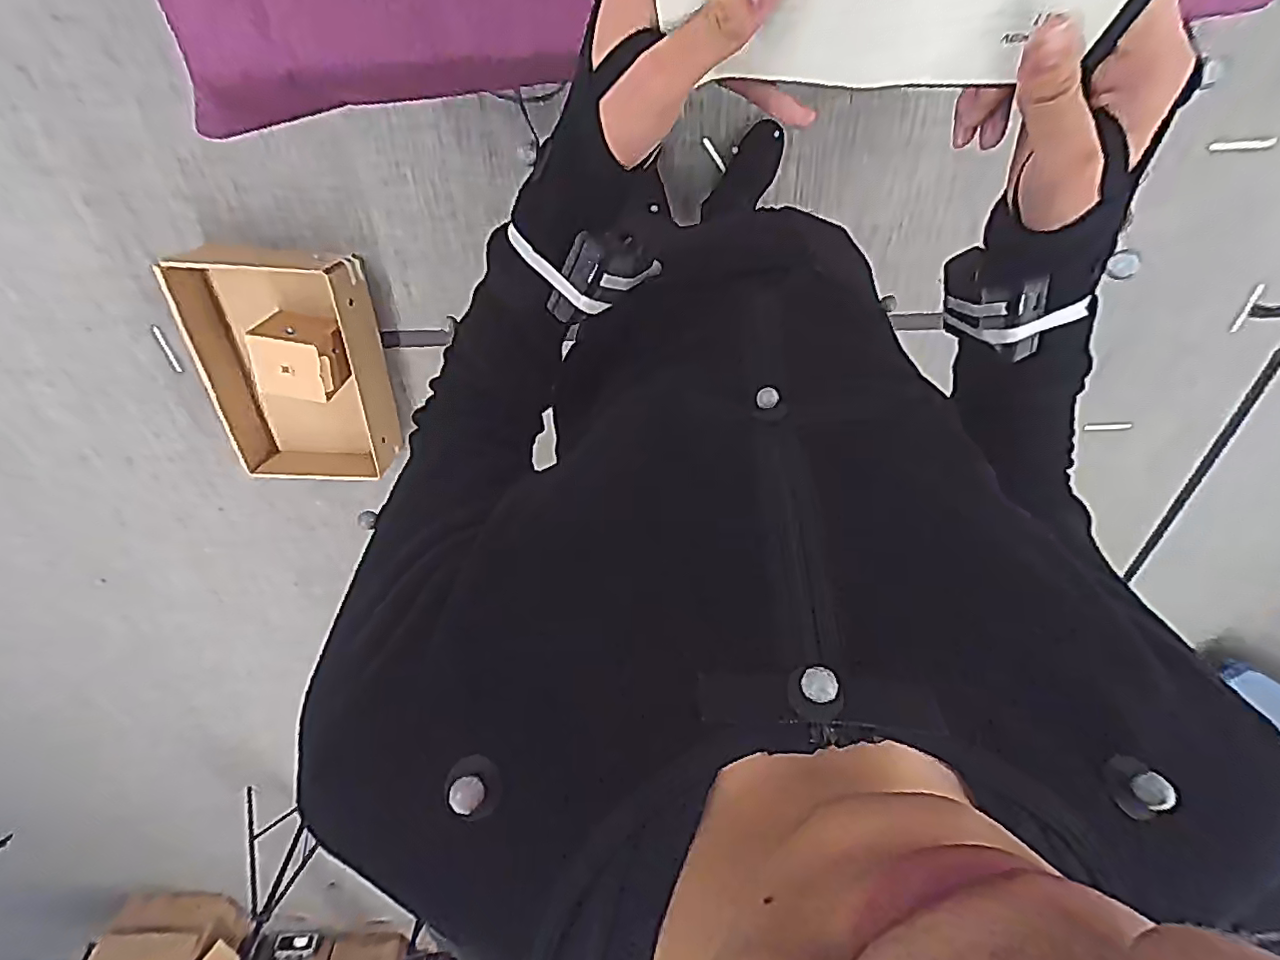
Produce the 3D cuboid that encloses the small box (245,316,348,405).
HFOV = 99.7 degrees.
[{"bbox_3d":[-0.902,-0.322,1.442,0.179,0.176,0.168,8,126,-8],"label":"small box"}]
